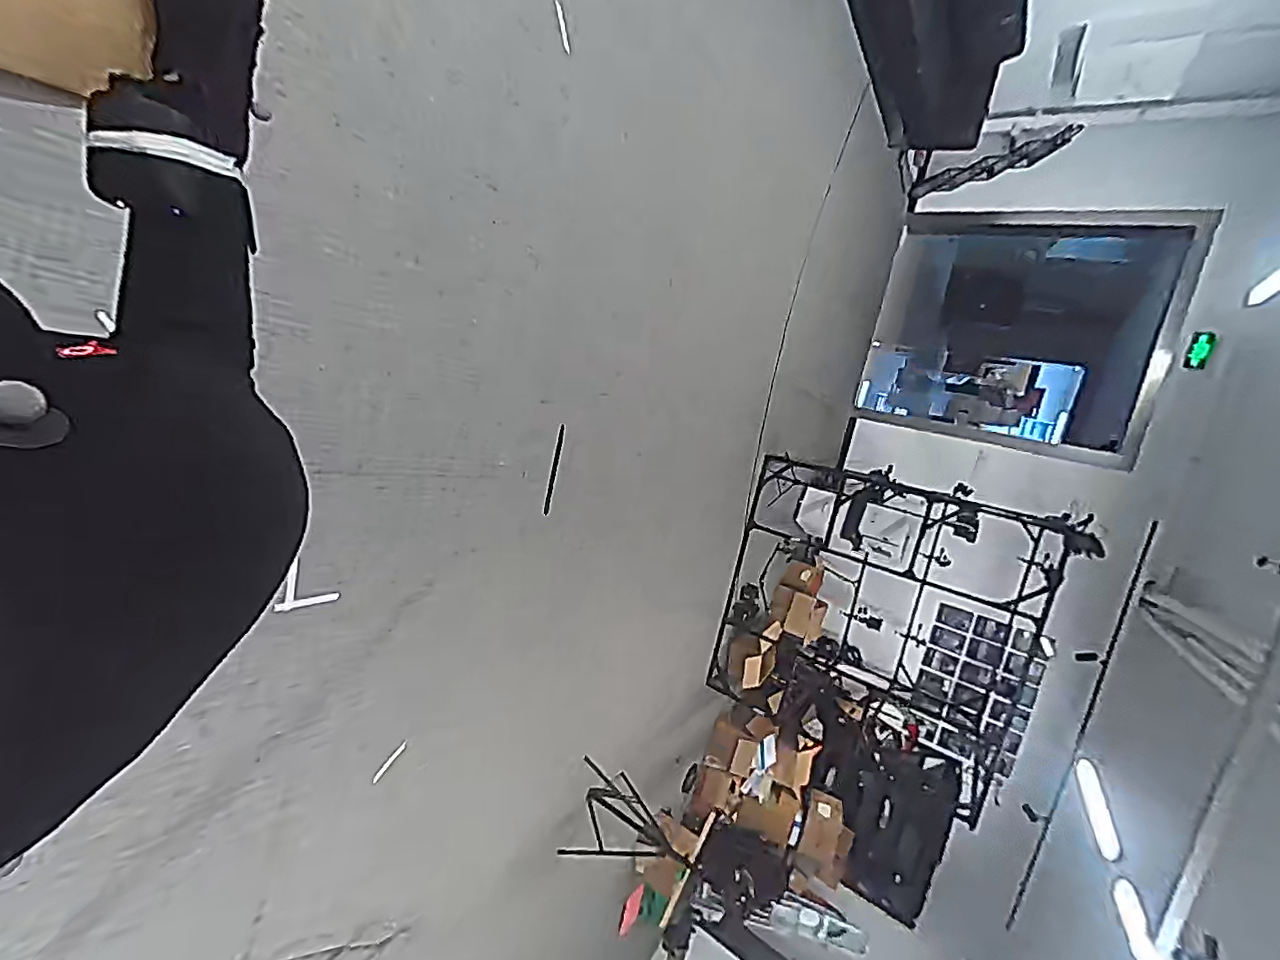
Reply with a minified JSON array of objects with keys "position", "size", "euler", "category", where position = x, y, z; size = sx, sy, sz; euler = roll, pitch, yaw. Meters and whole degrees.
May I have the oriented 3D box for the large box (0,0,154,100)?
[{"position":[-0.527,-0.430,0.230],"size":[0.408,0.320,0.320],"euler":[-14,124,-59],"category":"large box"}]
